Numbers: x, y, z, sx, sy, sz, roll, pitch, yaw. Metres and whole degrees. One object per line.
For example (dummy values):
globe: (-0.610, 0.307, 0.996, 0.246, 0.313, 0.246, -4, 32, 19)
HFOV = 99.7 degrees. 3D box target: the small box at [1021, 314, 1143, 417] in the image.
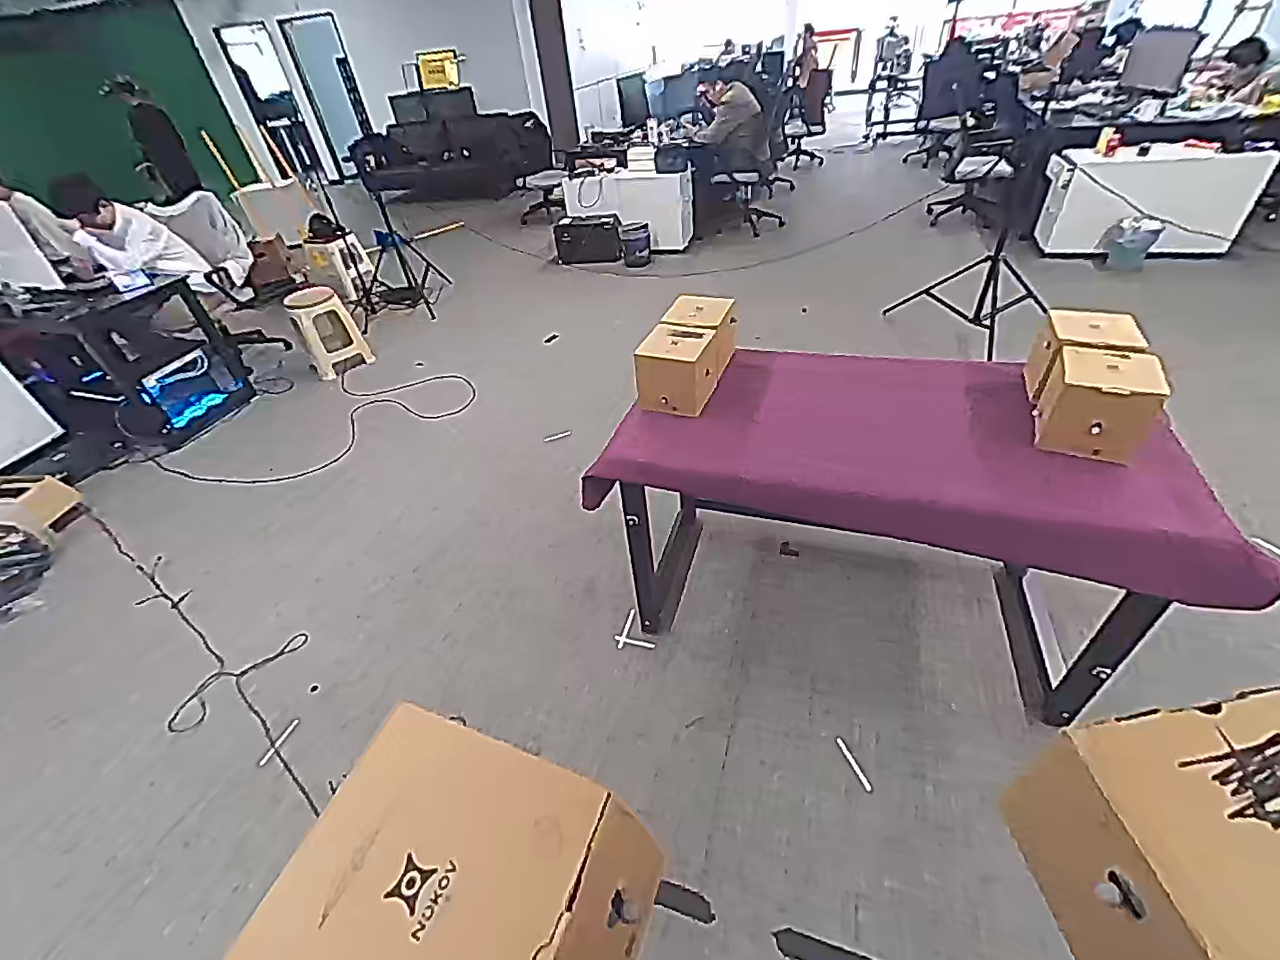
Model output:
small box: (1.033, -0.274, 1.285, 0.168, 0.176, 0.179, 12, 42, 20)

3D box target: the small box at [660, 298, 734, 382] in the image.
small box: (0.166, -0.405, 1.559, 0.168, 0.176, 0.179, 11, 44, 20)

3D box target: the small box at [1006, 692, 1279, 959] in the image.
small box: (0.359, 0.248, 0.316, 0.168, 0.176, 0.179, -13, 46, 4)

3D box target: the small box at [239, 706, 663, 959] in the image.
small box: (-0.099, 0.284, 0.355, 0.179, 0.176, 0.168, 7, 47, 25)
